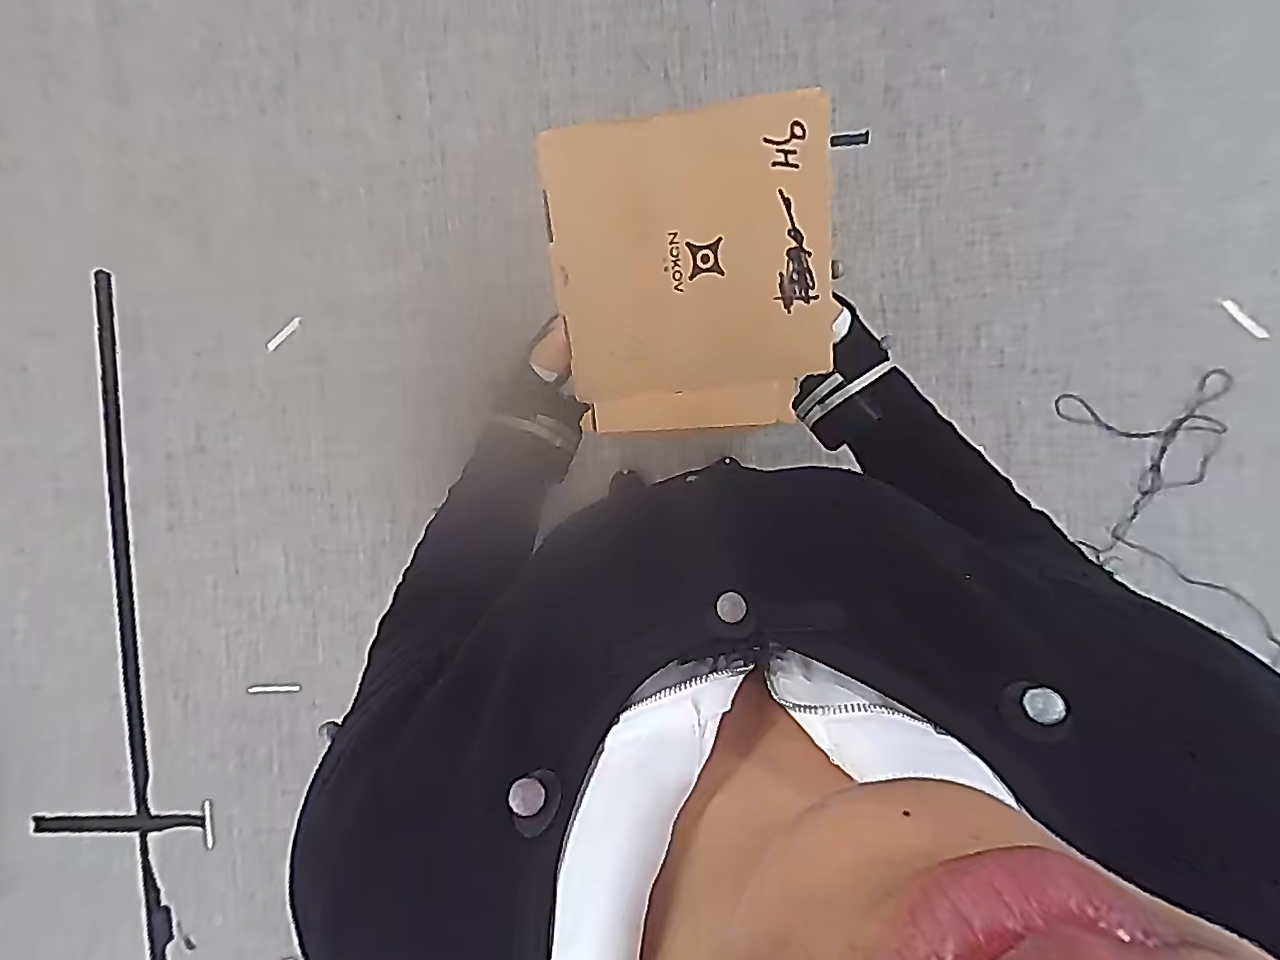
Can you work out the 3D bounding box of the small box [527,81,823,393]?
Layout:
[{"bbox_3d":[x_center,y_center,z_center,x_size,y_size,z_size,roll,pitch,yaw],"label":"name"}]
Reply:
[{"bbox_3d":[0.031,-0.170,0.419,0.179,0.176,0.168,-7,109,5],"label":"small box"}]
